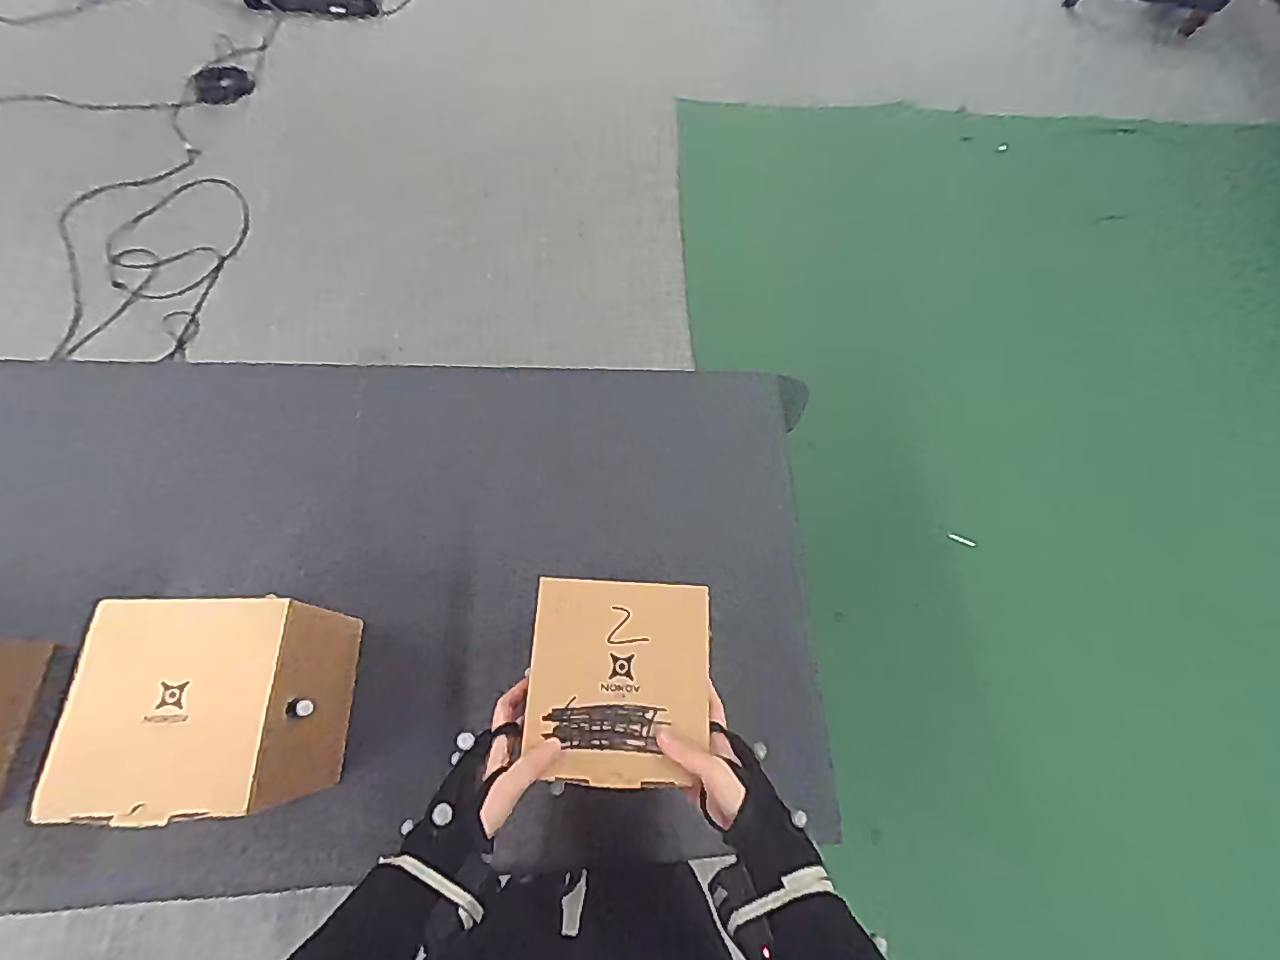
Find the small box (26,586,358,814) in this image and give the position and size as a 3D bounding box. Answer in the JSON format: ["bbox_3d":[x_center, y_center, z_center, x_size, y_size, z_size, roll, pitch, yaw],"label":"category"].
[{"bbox_3d":[-0.397,0.206,0.524,0.168,0.176,0.179,2,69,-5],"label":"small box"}]

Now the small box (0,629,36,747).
[{"bbox_3d":[-0.726,0.215,0.484,0.168,0.176,0.179,2,69,-4],"label":"small box"}]
